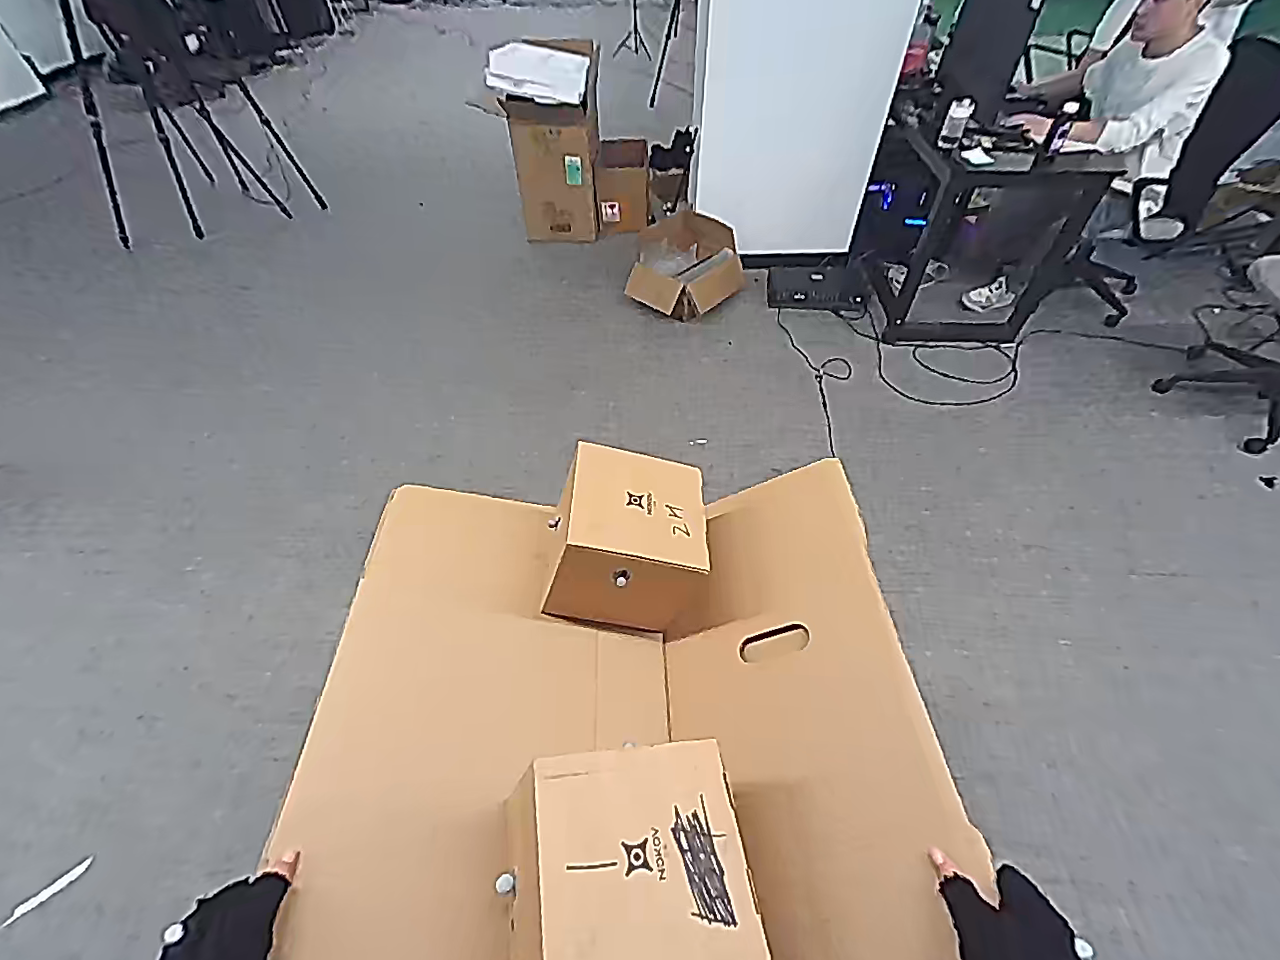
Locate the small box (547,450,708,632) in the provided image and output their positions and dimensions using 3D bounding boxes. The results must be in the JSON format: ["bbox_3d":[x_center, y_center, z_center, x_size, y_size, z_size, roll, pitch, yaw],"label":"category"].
[{"bbox_3d":[-0.022,0.090,0.741,0.179,0.176,0.168,14,47,-12],"label":"small box"}]

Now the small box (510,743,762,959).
[{"bbox_3d":[-0.020,0.359,0.502,0.179,0.176,0.168,4,49,-20],"label":"small box"}]
